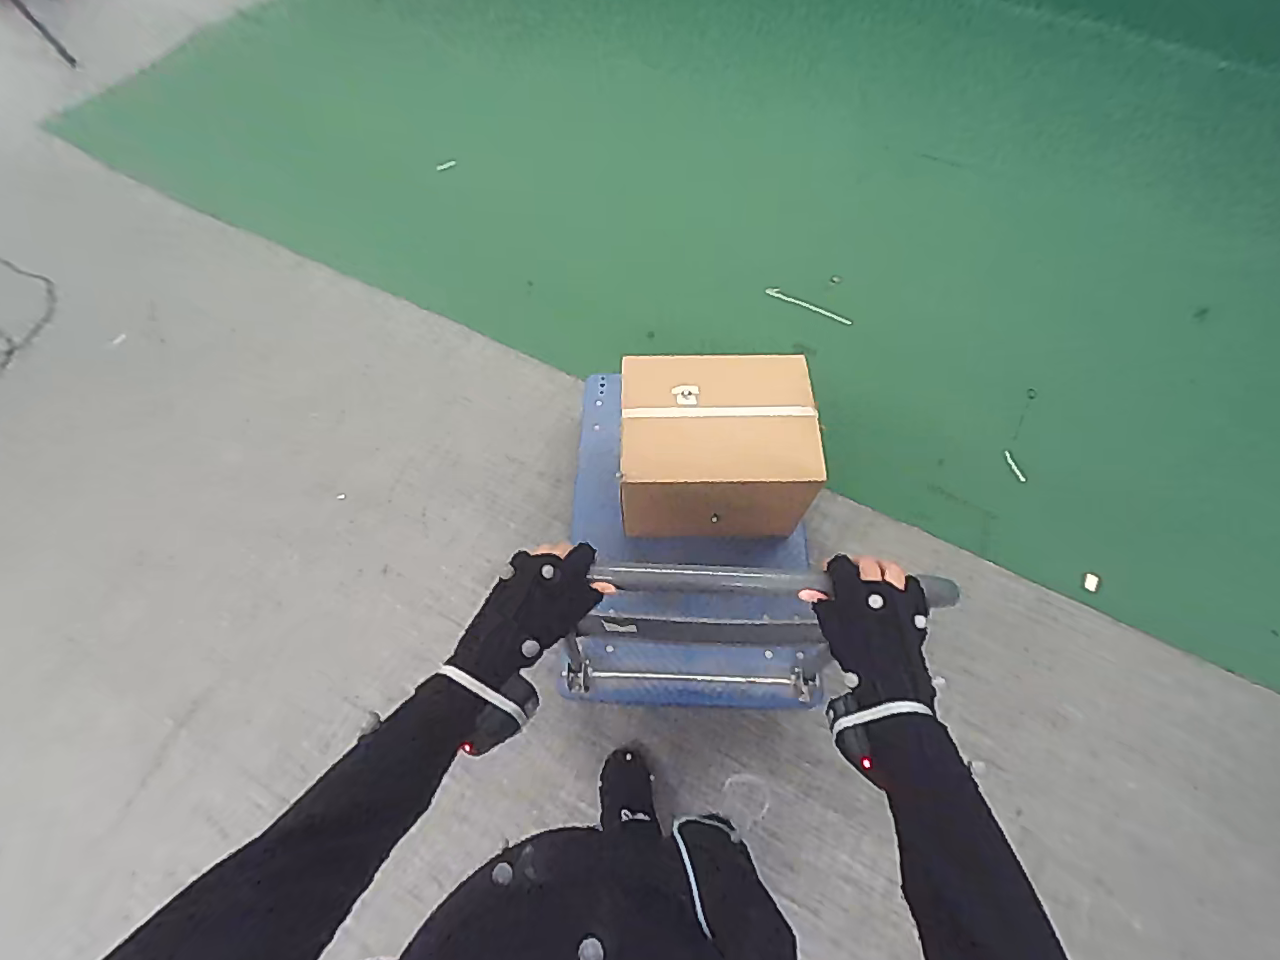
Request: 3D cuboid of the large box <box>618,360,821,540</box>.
[{"bbox_3d":[0.161,-0.056,1.256,0.408,0.320,0.320,-1,62,2],"label":"large box"}]
